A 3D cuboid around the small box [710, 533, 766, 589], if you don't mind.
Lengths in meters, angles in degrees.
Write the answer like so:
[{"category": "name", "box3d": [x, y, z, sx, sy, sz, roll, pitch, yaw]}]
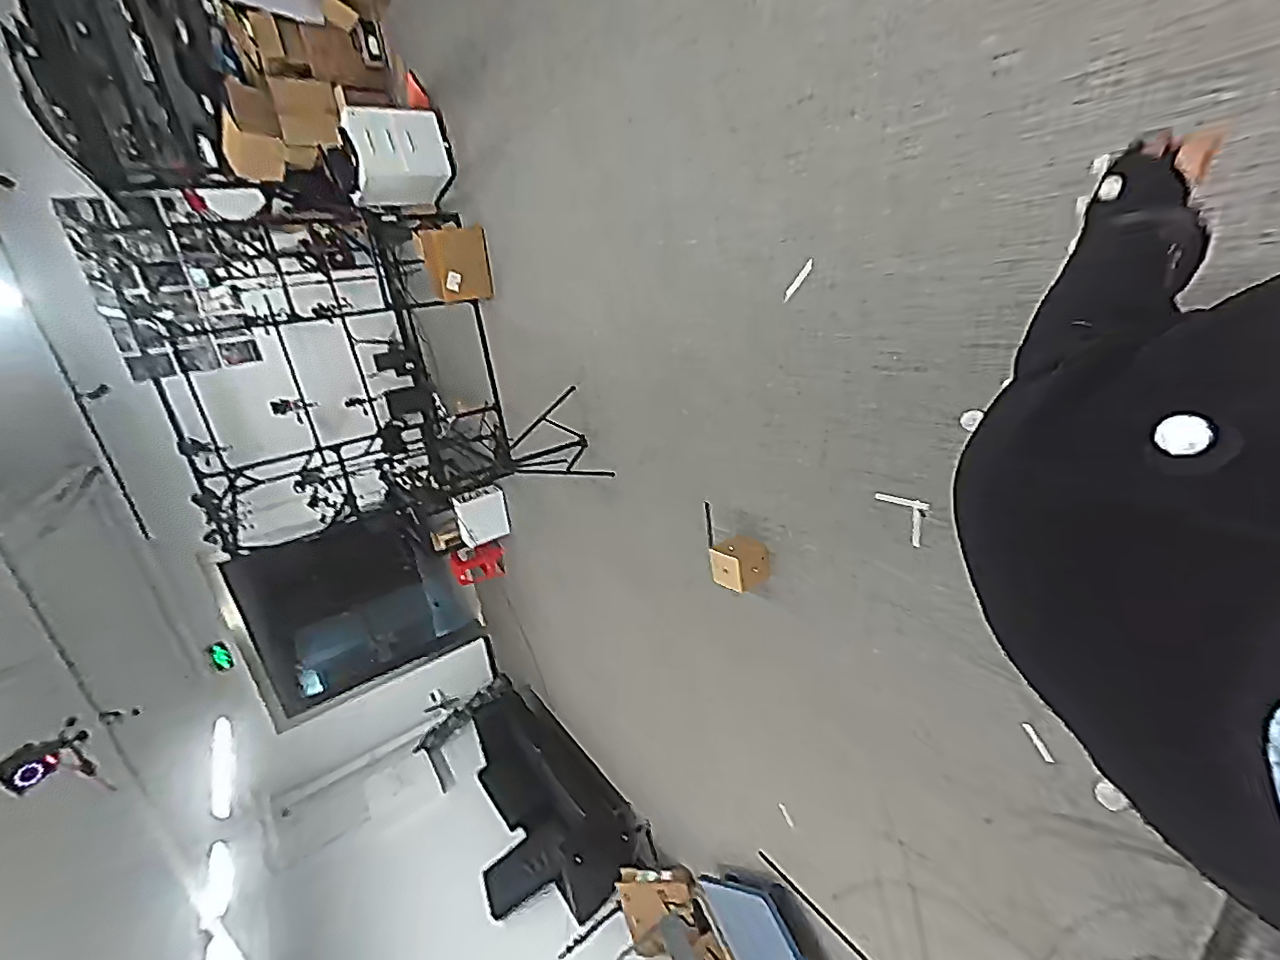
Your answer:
[{"category": "small box", "box3d": [0.430, 0.345, 2.341, 0.179, 0.176, 0.168, 16, 121, 54]}]
